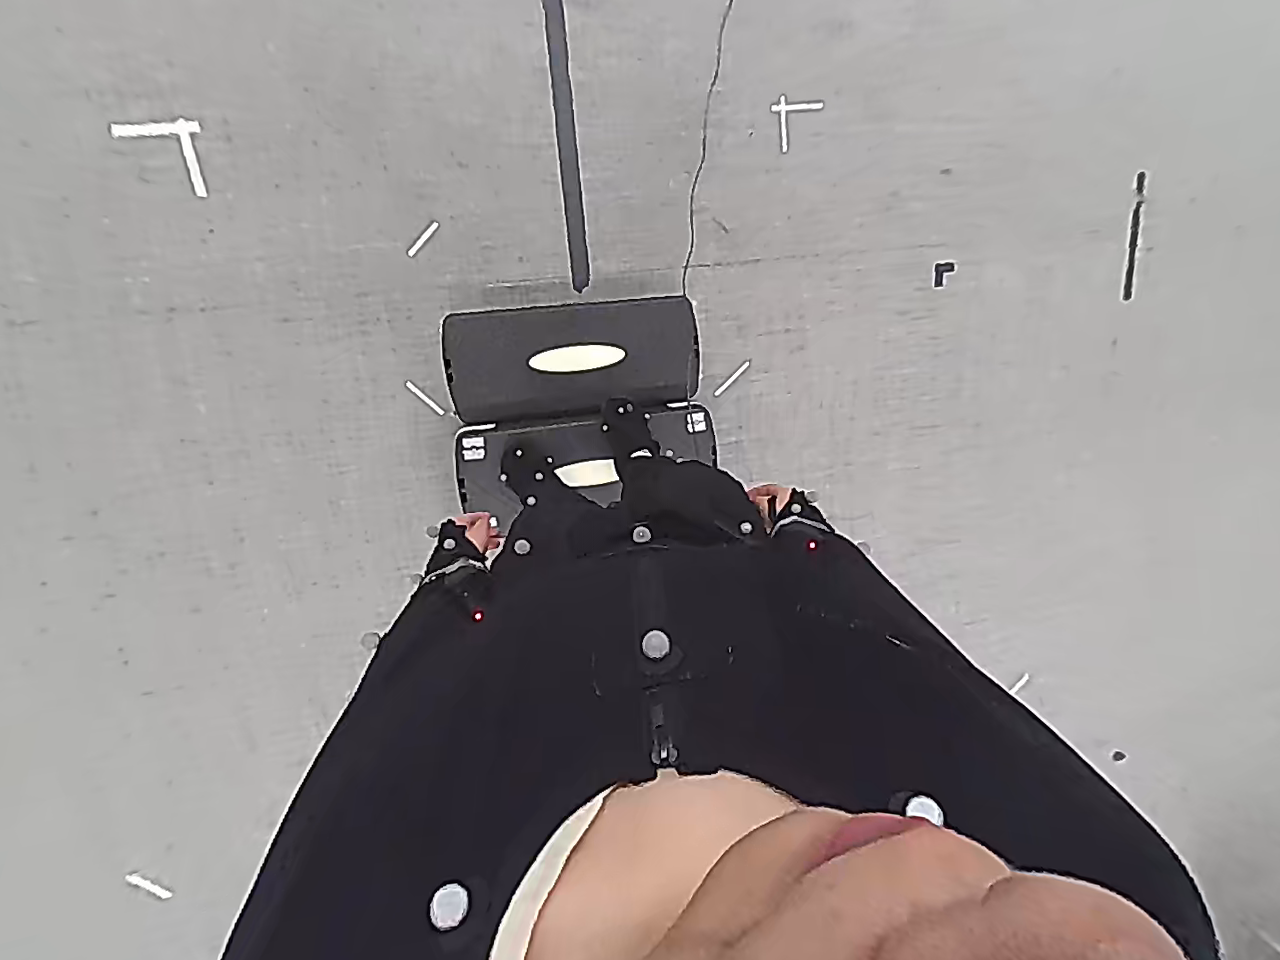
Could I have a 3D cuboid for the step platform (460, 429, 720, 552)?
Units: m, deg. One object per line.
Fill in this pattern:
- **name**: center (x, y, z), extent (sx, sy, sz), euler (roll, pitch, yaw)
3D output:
- **step platform**: center (-0.127, 0.021, 1.461), extent (0.684, 0.204, 0.286), euler (-3, 99, -10)
